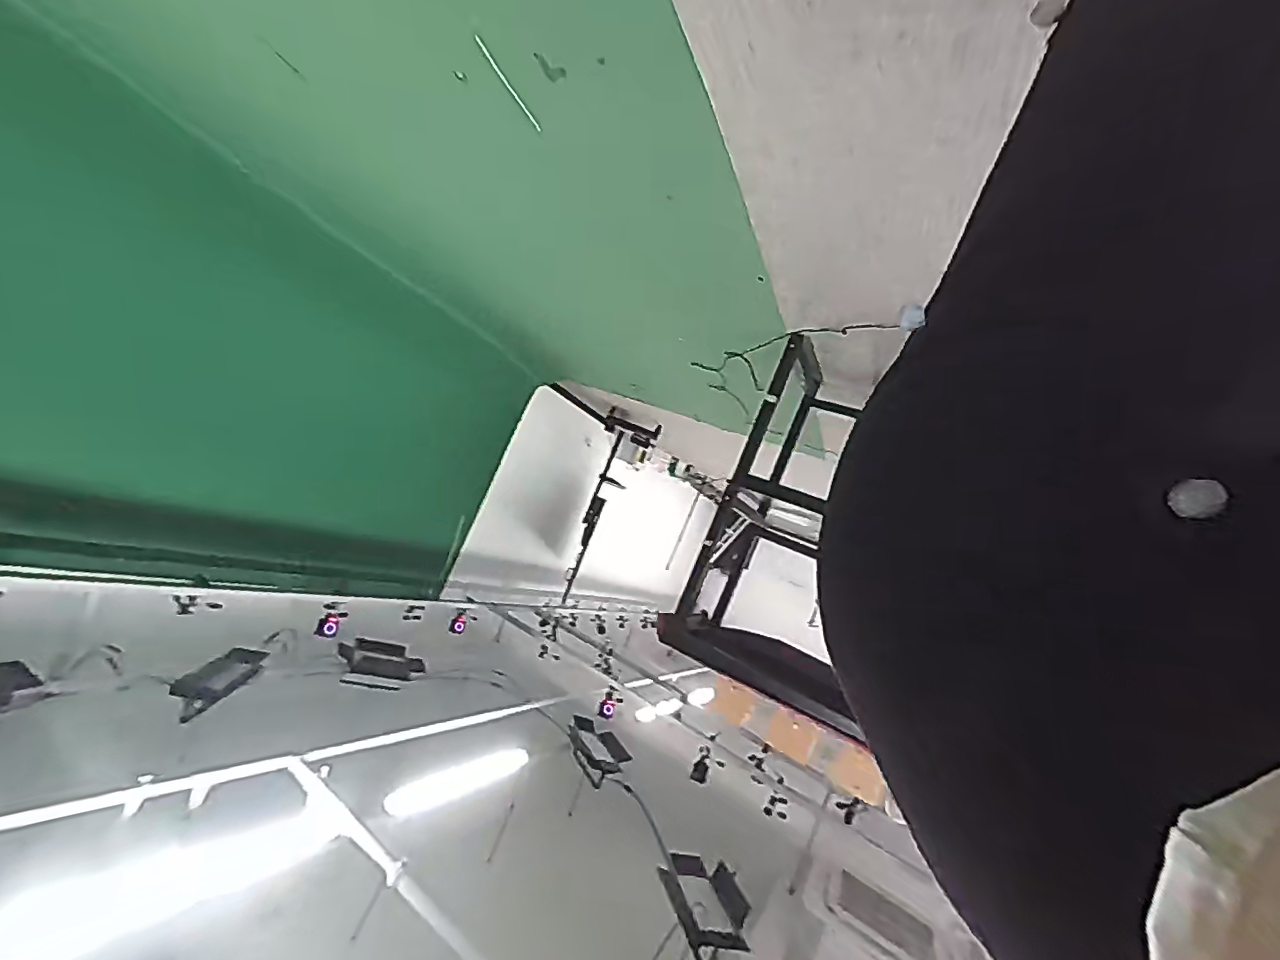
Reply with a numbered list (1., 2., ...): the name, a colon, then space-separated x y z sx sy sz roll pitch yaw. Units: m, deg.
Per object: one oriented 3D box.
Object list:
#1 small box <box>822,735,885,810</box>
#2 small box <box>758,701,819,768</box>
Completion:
1. small box: 0.792 1.068 1.994 0.168 0.176 0.179 21 176 29
2. small box: 0.586 0.986 2.116 0.168 0.176 0.179 21 175 28
